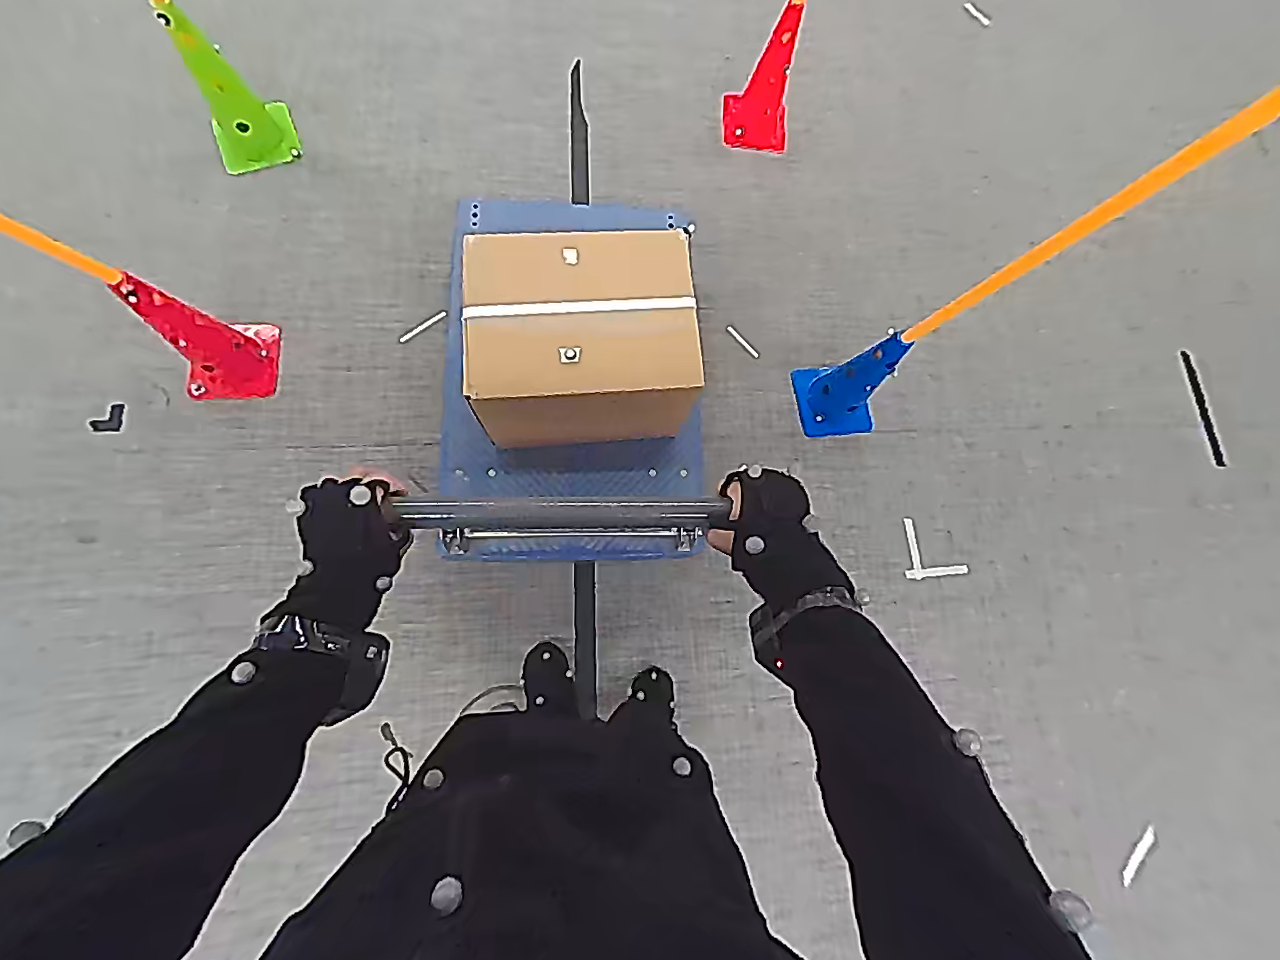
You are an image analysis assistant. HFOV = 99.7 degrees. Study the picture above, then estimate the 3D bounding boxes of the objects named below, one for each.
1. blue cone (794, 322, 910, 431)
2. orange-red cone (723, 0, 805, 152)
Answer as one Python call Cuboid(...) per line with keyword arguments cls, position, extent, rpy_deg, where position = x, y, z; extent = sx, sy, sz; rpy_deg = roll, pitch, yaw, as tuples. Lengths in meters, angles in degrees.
Cuboid(cls="blue cone", position=(0.547, -0.268, 1.335), extent=(0.193, 0.380, 0.192), rpy_deg=(-5, 76, -7))
Cuboid(cls="orange-red cone", position=(0.377, -1.145, 1.509), extent=(0.199, 0.360, 0.198), rpy_deg=(5, 77, -6))
